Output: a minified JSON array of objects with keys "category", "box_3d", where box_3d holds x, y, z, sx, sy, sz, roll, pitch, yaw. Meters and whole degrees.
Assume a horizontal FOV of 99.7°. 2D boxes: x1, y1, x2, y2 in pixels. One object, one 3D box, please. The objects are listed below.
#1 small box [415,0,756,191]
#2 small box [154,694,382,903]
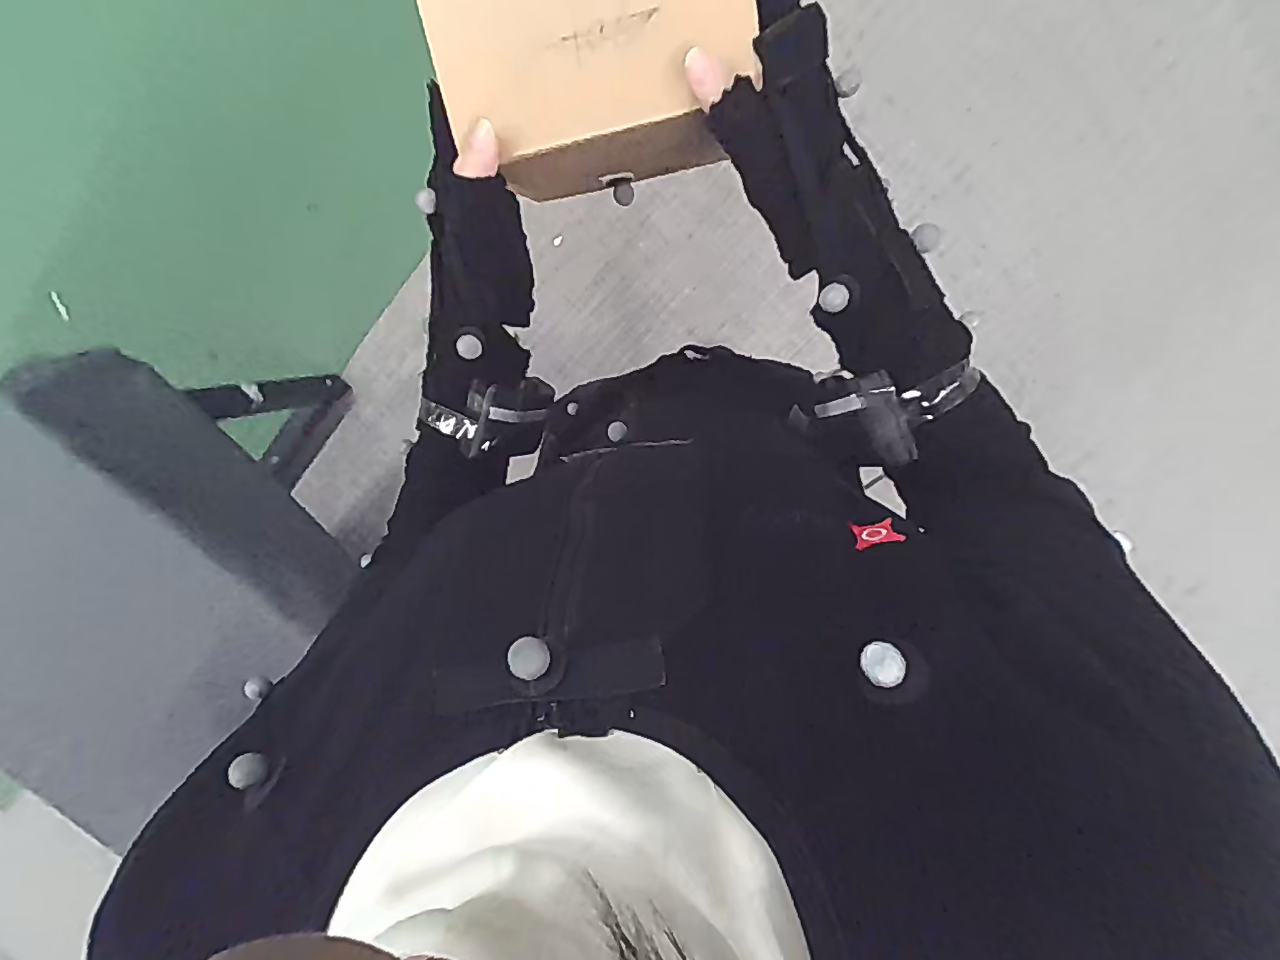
[{"category":"small box","box_3d":[-0.025,-0.293,0.325,0.168,0.176,0.179,-6,111,10]},{"category":"small box","box_3d":[-0.525,0.443,0.784,0.179,0.176,0.168,43,106,-5]}]
